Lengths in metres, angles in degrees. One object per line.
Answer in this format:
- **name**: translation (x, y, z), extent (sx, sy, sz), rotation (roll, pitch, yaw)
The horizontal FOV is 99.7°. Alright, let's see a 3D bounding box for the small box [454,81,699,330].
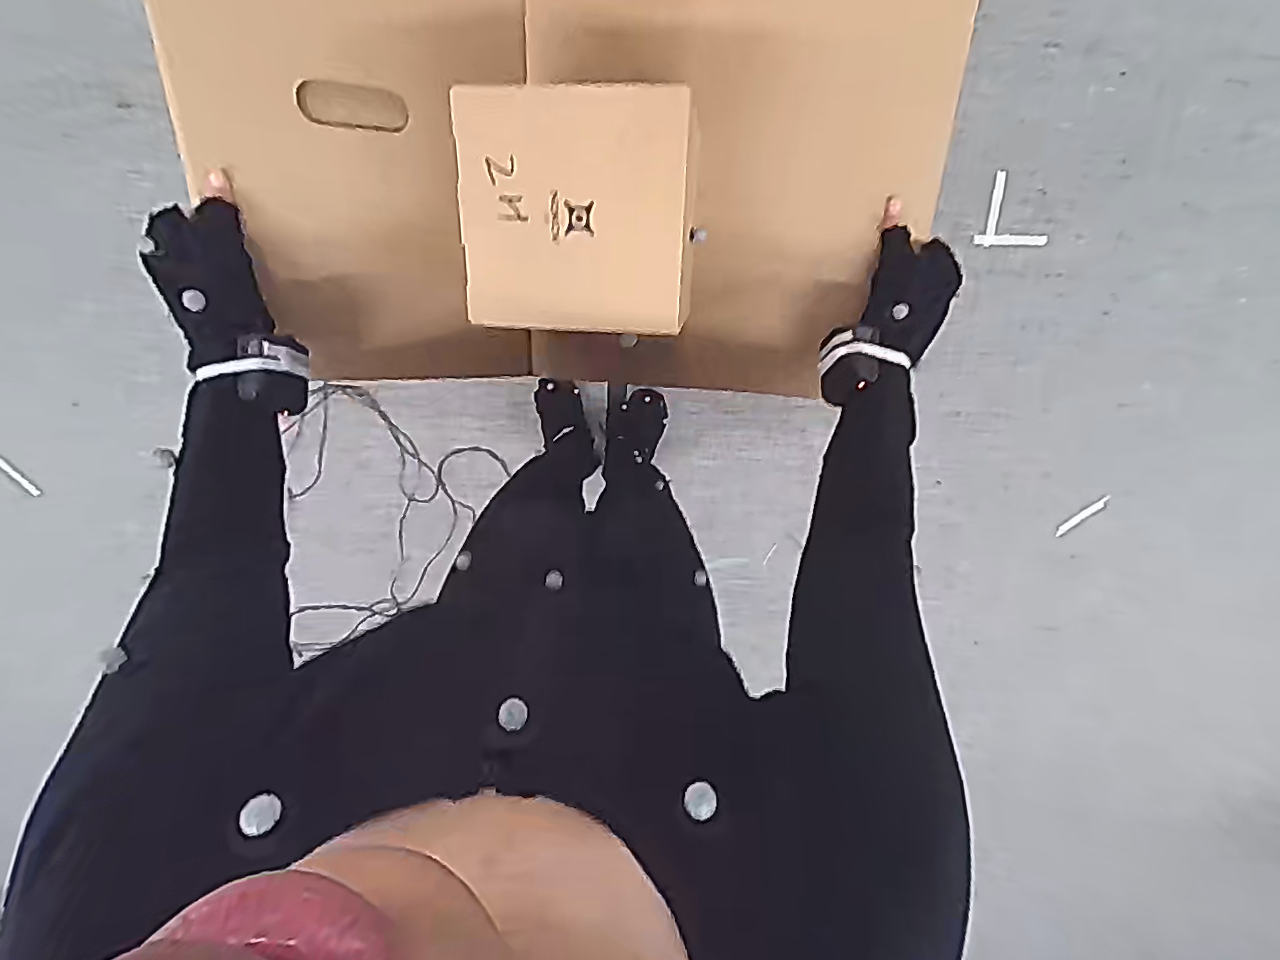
- **small box**: translation (-0.041, -0.232, 0.482), extent (0.179, 0.176, 0.168), rotation (5, 112, 7)
